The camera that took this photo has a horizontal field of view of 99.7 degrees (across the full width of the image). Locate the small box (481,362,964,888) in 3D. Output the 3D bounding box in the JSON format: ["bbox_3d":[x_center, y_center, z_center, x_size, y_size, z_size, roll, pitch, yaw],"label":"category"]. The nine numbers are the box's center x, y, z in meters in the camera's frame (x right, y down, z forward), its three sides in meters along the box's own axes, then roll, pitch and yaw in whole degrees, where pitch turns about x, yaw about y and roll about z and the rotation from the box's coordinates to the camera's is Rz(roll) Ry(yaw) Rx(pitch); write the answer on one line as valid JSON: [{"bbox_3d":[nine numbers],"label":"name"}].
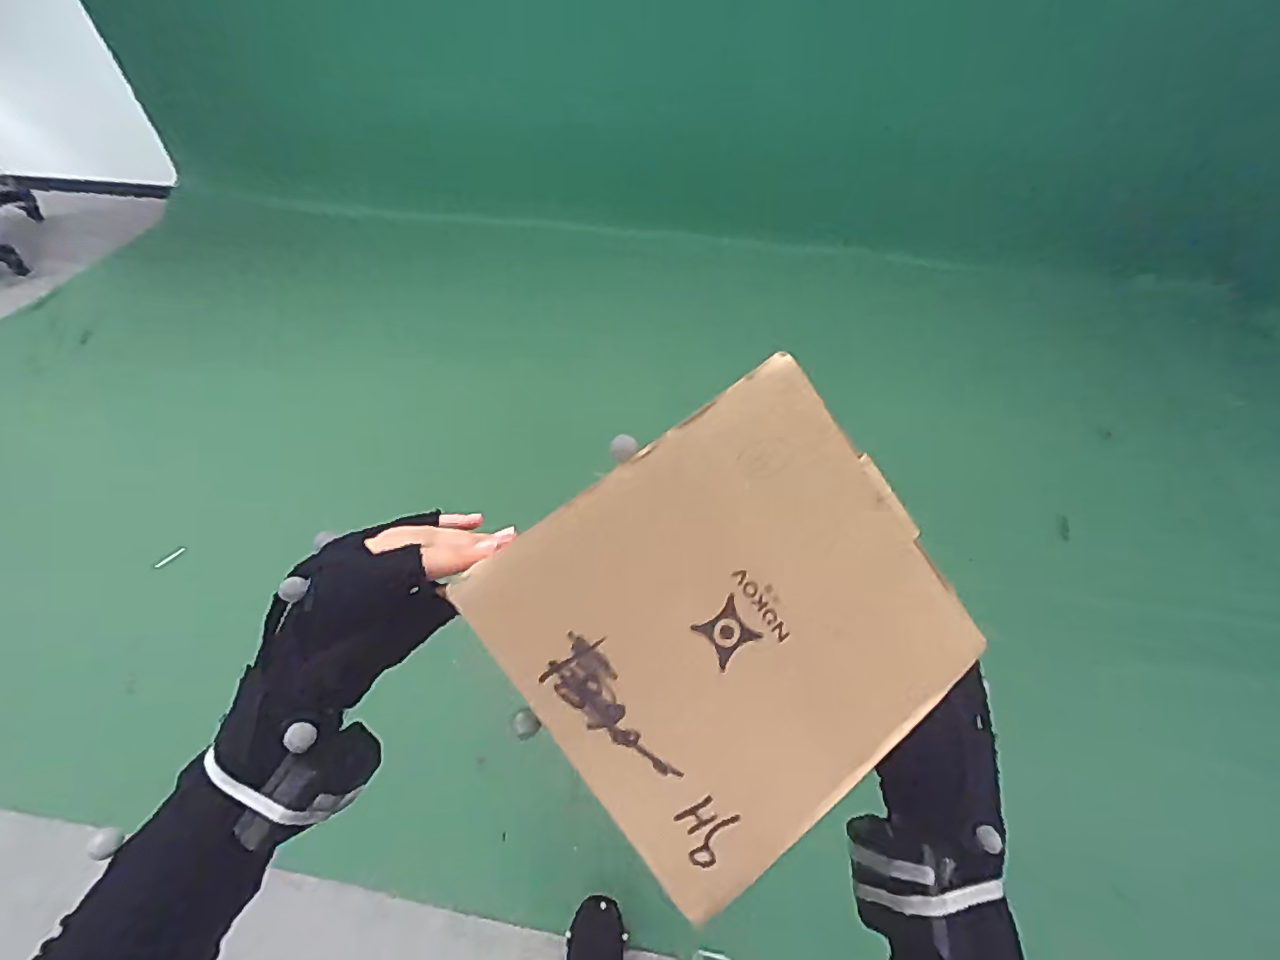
[{"bbox_3d":[0.029,0.064,0.317,0.179,0.176,0.168,-36,91,-14],"label":"small box"}]
